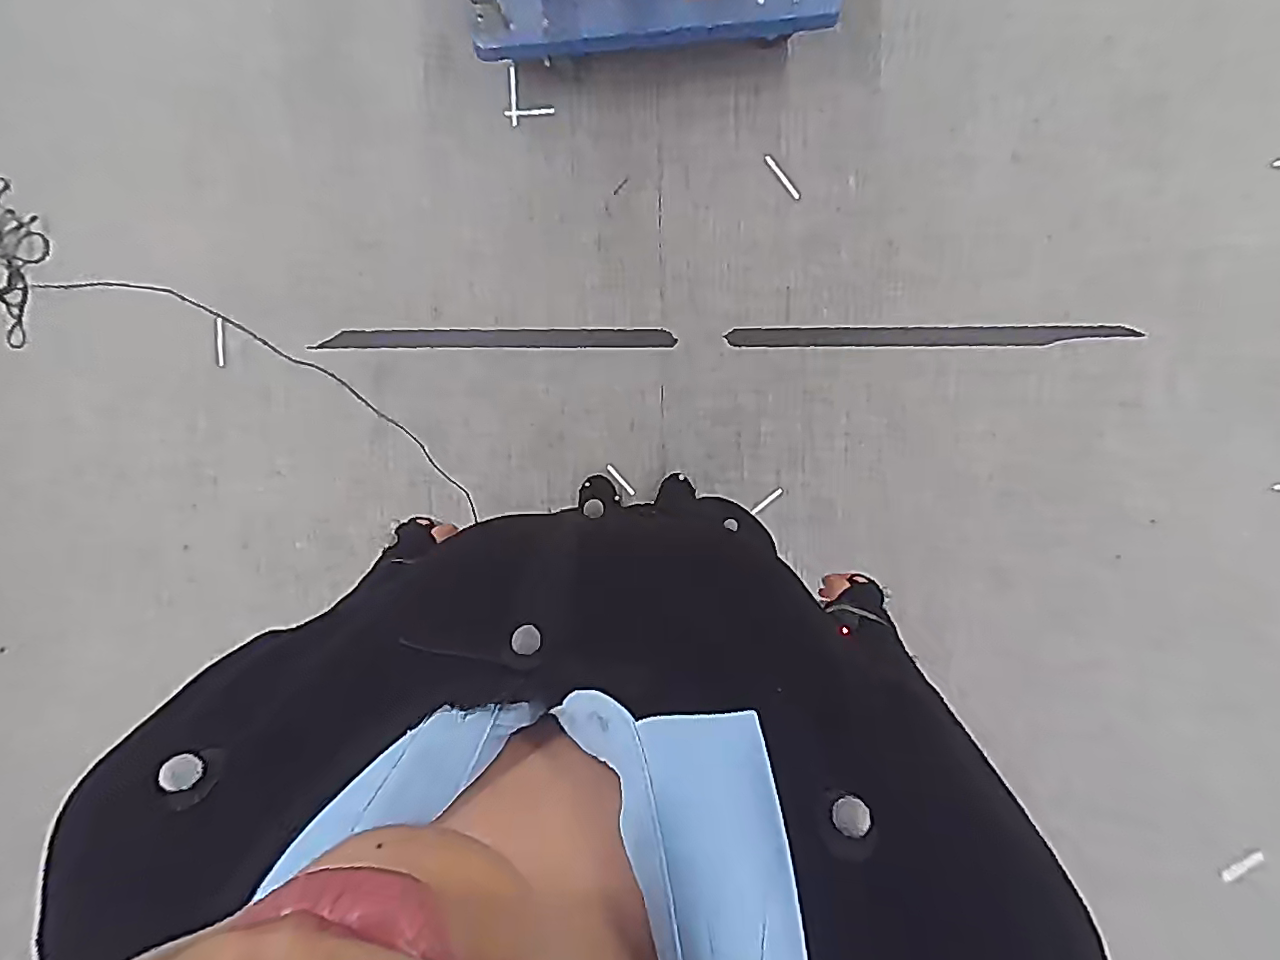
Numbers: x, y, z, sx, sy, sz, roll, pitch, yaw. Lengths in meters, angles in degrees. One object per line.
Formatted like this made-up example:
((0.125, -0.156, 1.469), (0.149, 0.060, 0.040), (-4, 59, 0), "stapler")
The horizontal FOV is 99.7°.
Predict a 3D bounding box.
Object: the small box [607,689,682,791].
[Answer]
((0.016, 0.687, 1.441), (0.168, 0.176, 0.179), (-12, 92, 3), "small box")
